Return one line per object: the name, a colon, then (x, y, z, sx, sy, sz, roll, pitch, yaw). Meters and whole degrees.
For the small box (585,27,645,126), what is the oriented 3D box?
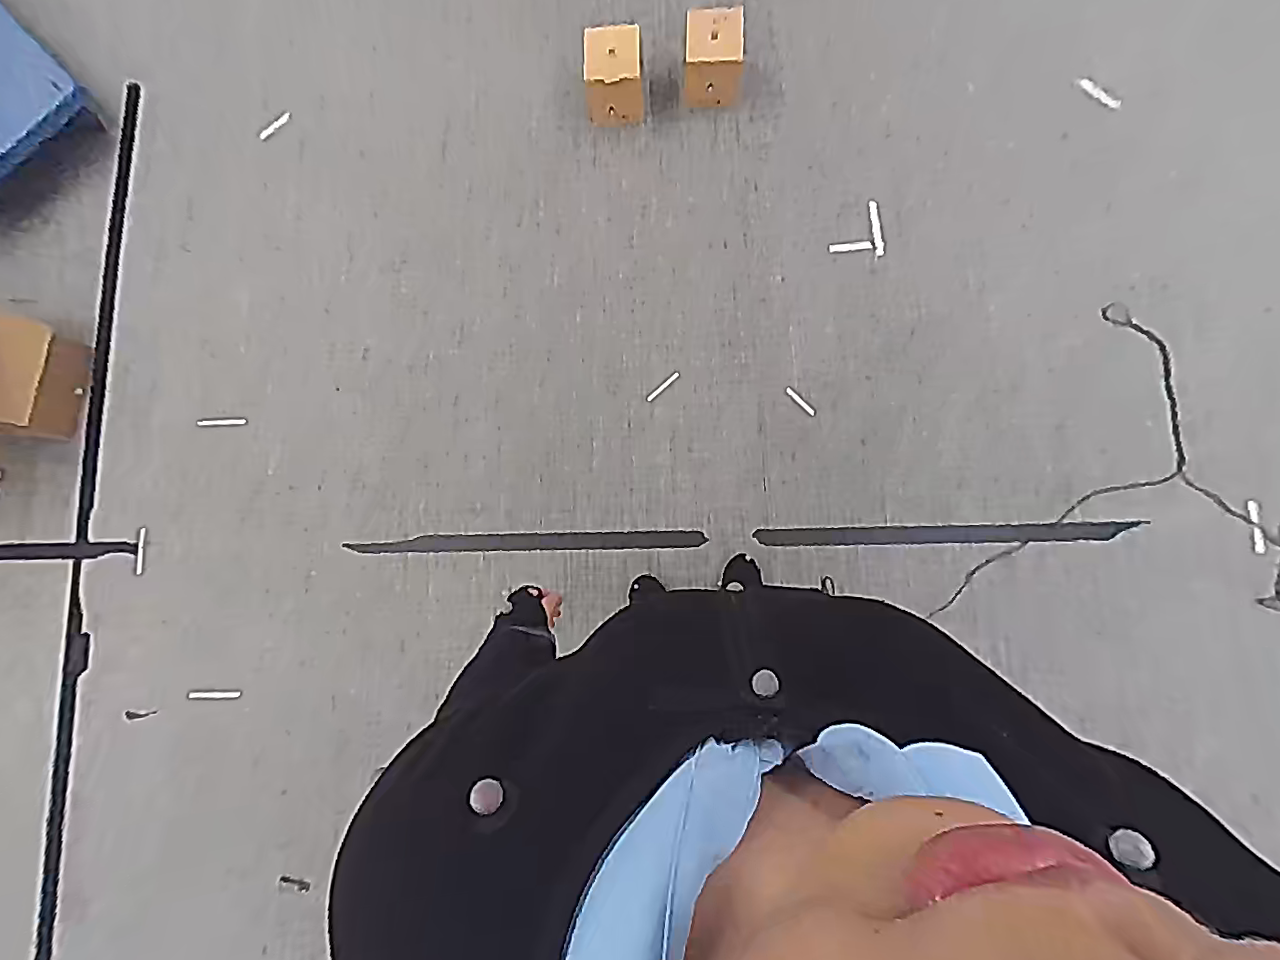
small box: (-0.073, -1.229, 1.654, 0.168, 0.176, 0.179, -2, 82, 4)

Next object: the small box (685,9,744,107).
small box: (0.222, -1.267, 1.636, 0.168, 0.176, 0.179, 1, 82, 4)
